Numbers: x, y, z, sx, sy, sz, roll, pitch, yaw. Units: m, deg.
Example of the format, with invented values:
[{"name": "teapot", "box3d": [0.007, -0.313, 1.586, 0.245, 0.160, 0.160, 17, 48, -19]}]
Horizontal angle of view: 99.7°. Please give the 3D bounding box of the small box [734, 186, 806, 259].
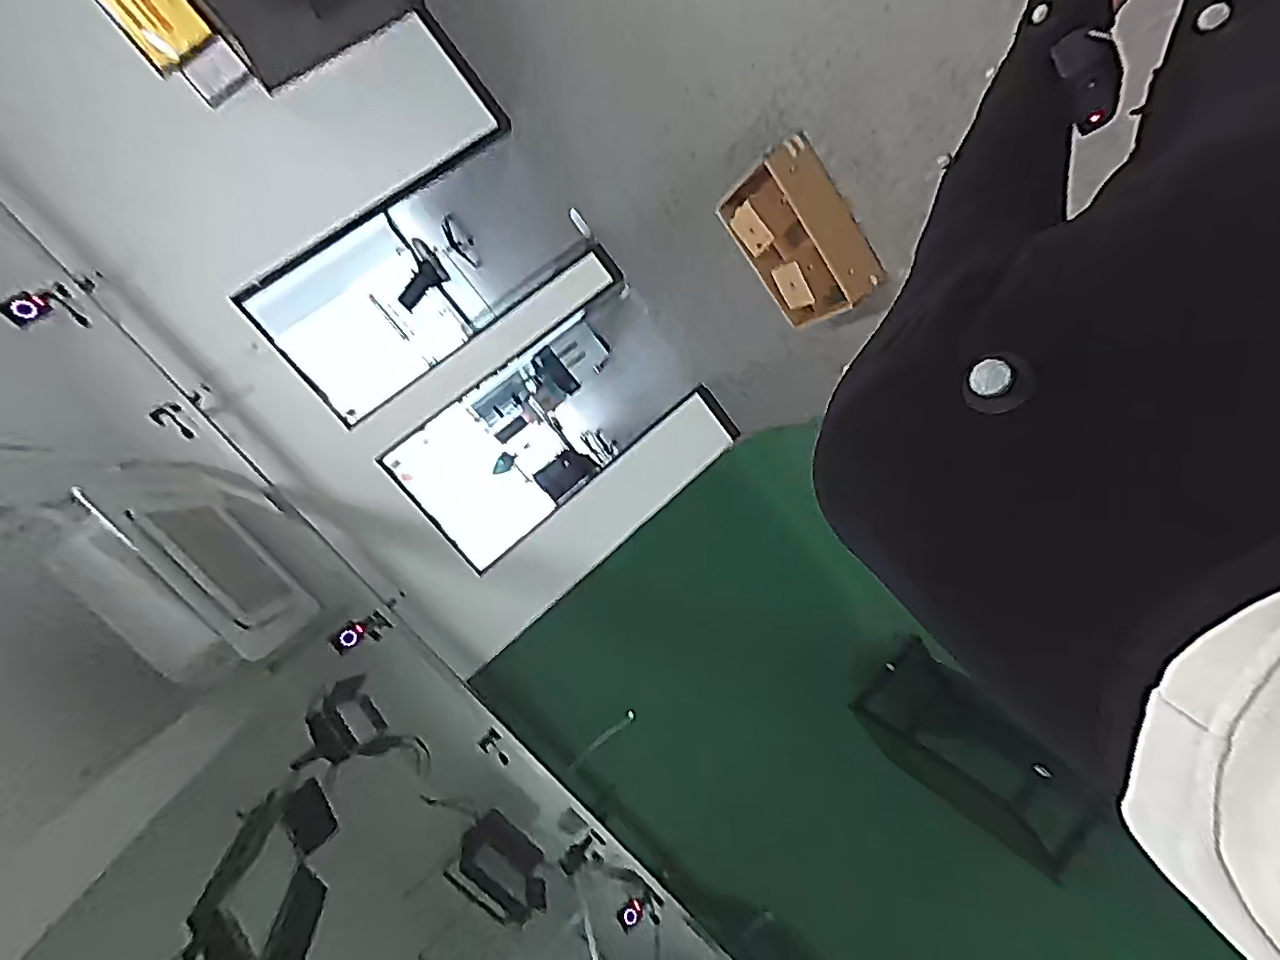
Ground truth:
[{"name": "small box", "box3d": [0.505, -1.007, 2.105, 0.179, 0.176, 0.168, 51, 168, -7]}]
